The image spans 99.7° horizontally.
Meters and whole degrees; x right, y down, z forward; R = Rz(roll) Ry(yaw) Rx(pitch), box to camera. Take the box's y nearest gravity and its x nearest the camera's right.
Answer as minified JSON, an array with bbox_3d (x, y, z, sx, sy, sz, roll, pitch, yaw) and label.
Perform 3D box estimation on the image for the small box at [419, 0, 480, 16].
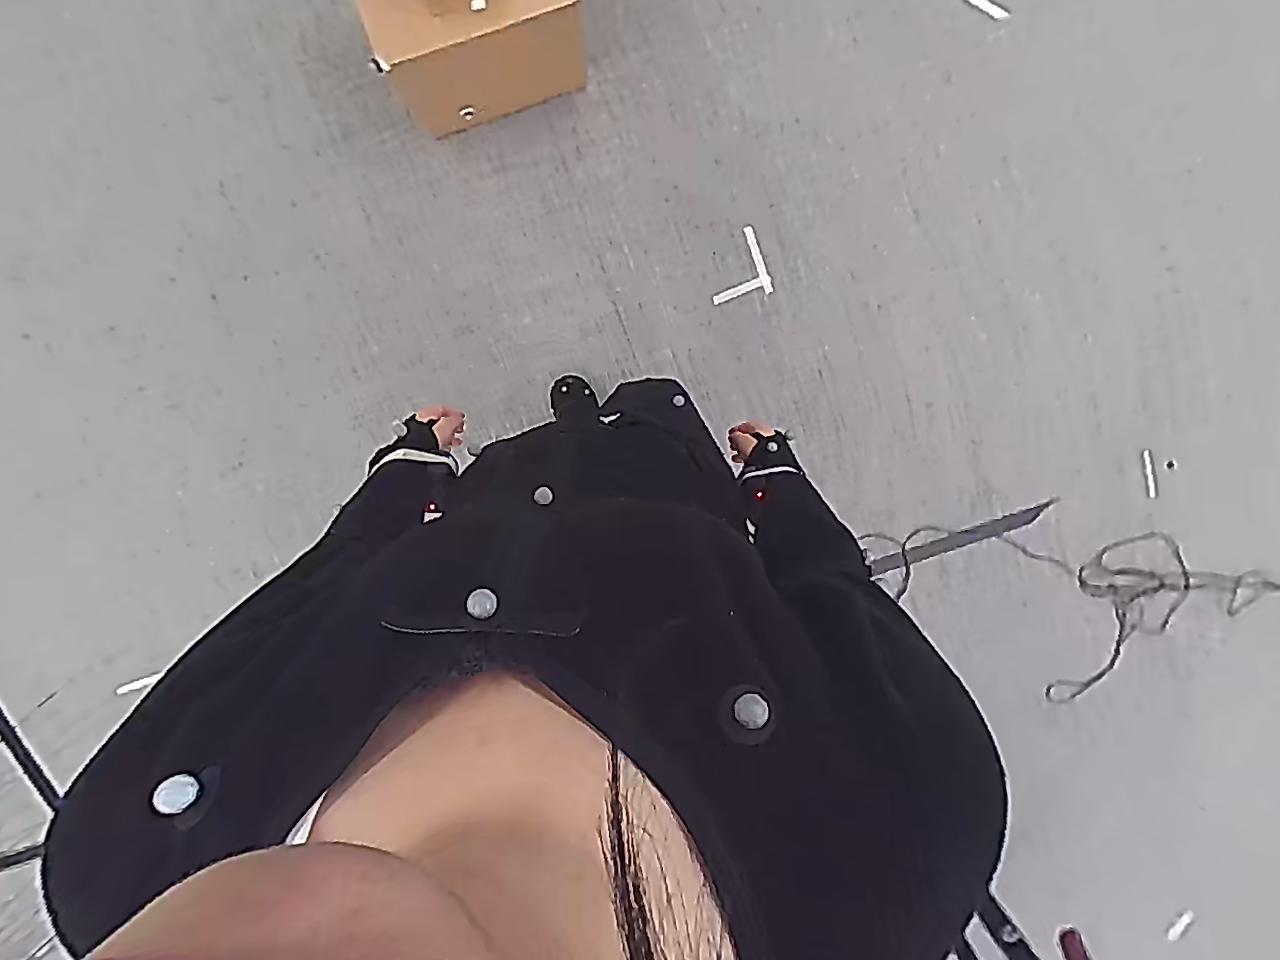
[{"bbox_3d":[-0.338,-0.945,0.914,0.179,0.176,0.168,-21,102,0],"label":"small box"}]
